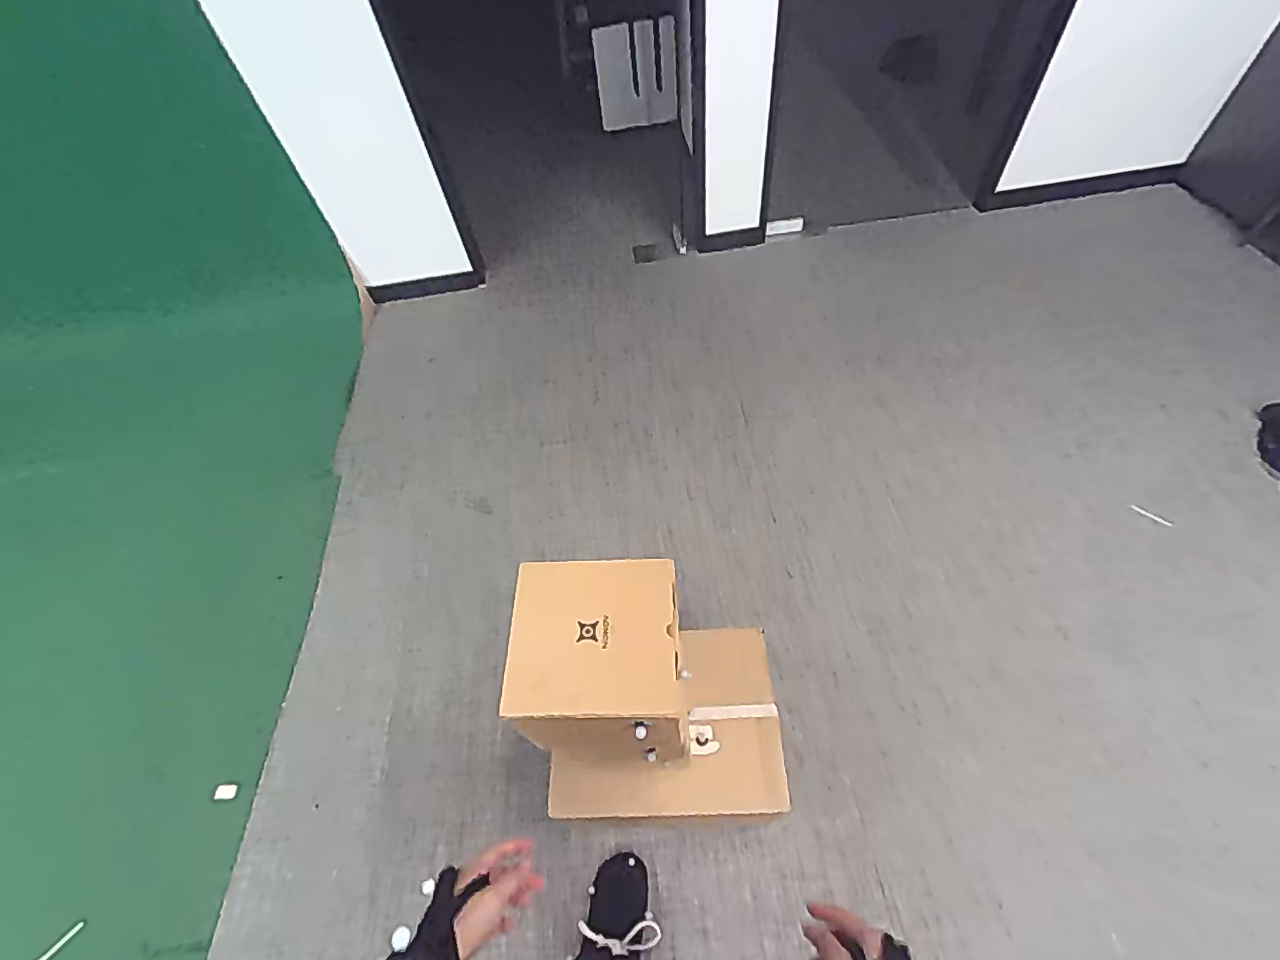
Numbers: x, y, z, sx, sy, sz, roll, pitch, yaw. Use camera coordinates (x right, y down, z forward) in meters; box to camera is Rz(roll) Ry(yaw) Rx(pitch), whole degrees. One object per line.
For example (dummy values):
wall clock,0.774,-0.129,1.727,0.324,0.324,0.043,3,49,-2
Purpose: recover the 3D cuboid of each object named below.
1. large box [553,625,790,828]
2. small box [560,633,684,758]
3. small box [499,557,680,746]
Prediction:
large box,0.055,0.507,1.097,0.408,0.320,0.320,-3,55,3
small box,-0.025,0.286,0.762,0.168,0.176,0.179,-3,54,2
small box,-0.044,0.202,0.623,0.179,0.176,0.168,-2,54,2
